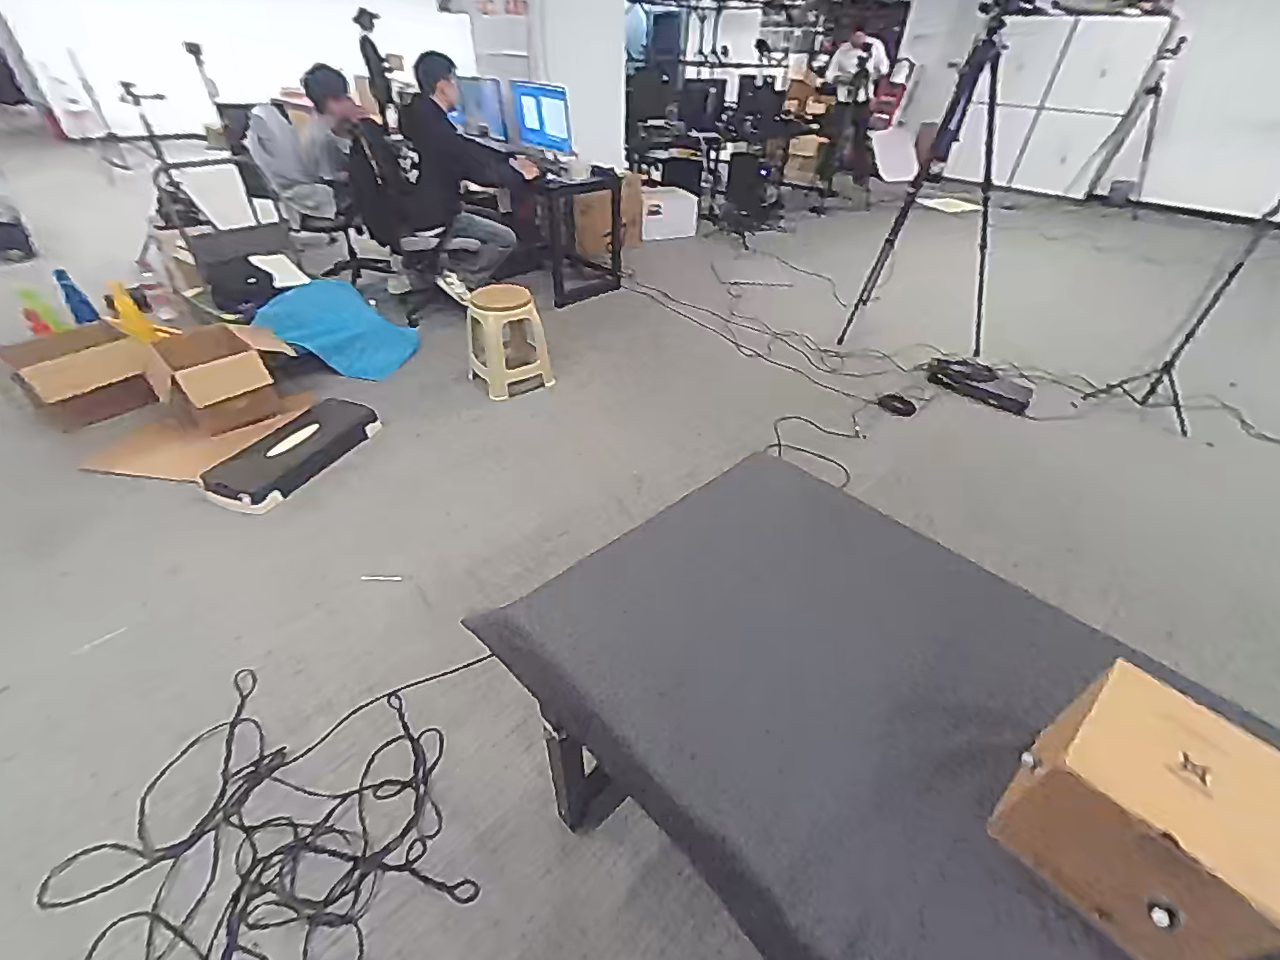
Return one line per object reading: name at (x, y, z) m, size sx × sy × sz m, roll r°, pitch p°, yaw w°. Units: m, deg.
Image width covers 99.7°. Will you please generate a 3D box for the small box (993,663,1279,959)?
small box at (0.493, 0.330, 0.539) m, size 0.179 × 0.176 × 0.168 m, roll -26°, pitch 48°, yaw -33°
